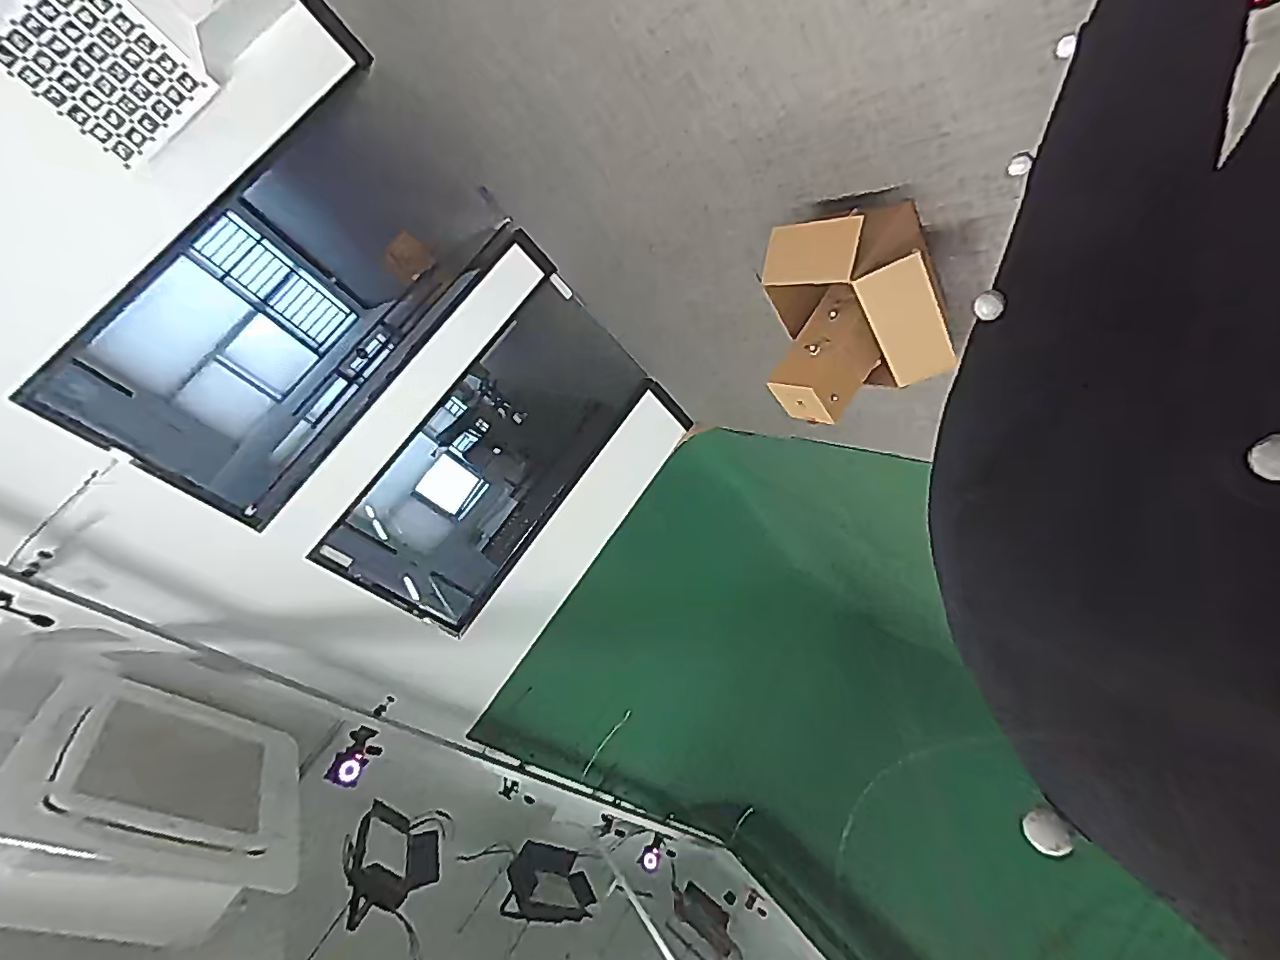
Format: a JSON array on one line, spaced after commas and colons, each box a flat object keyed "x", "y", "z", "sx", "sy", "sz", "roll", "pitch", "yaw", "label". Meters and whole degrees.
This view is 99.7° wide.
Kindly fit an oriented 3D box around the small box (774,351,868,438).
[{"x": 0.533, "y": -0.252, "z": 1.579, "sx": 0.179, "sy": 0.176, "sz": 0.168, "roll": 42, "pitch": 166, "yaw": -36, "label": "small box"}]
